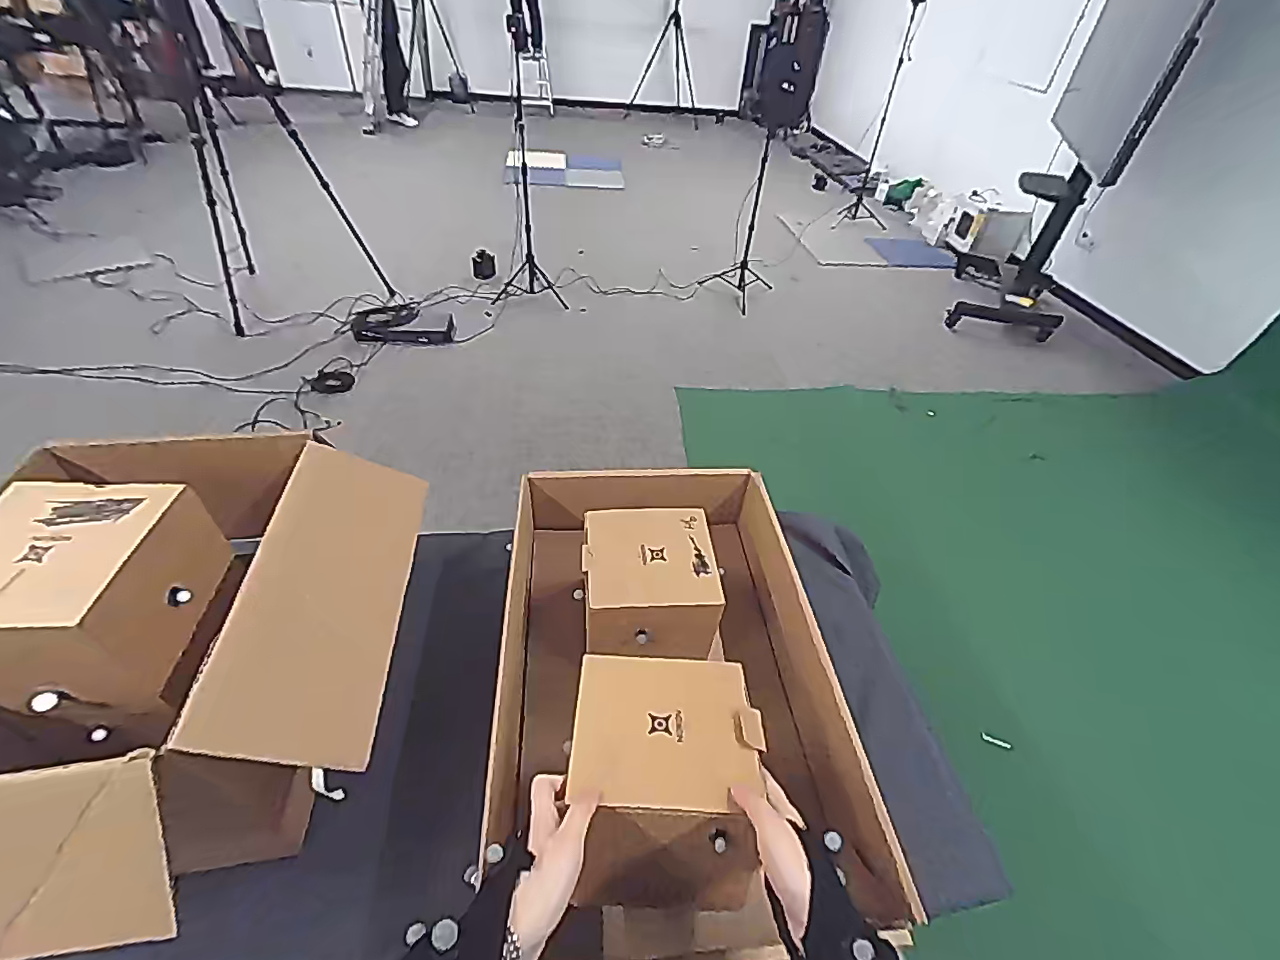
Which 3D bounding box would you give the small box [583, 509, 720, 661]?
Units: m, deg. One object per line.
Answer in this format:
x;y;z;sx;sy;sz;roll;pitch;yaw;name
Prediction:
0.007;0.159;0.789;0.179;0.176;0.168;-1;46;-6;small box

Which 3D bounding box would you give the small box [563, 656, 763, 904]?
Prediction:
0.016;0.310;0.567;0.179;0.176;0.168;4;29;-2;small box

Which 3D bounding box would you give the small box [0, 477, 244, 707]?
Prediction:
-0.560;0.117;0.566;0.168;0.176;0.179;1;46;-6;small box
